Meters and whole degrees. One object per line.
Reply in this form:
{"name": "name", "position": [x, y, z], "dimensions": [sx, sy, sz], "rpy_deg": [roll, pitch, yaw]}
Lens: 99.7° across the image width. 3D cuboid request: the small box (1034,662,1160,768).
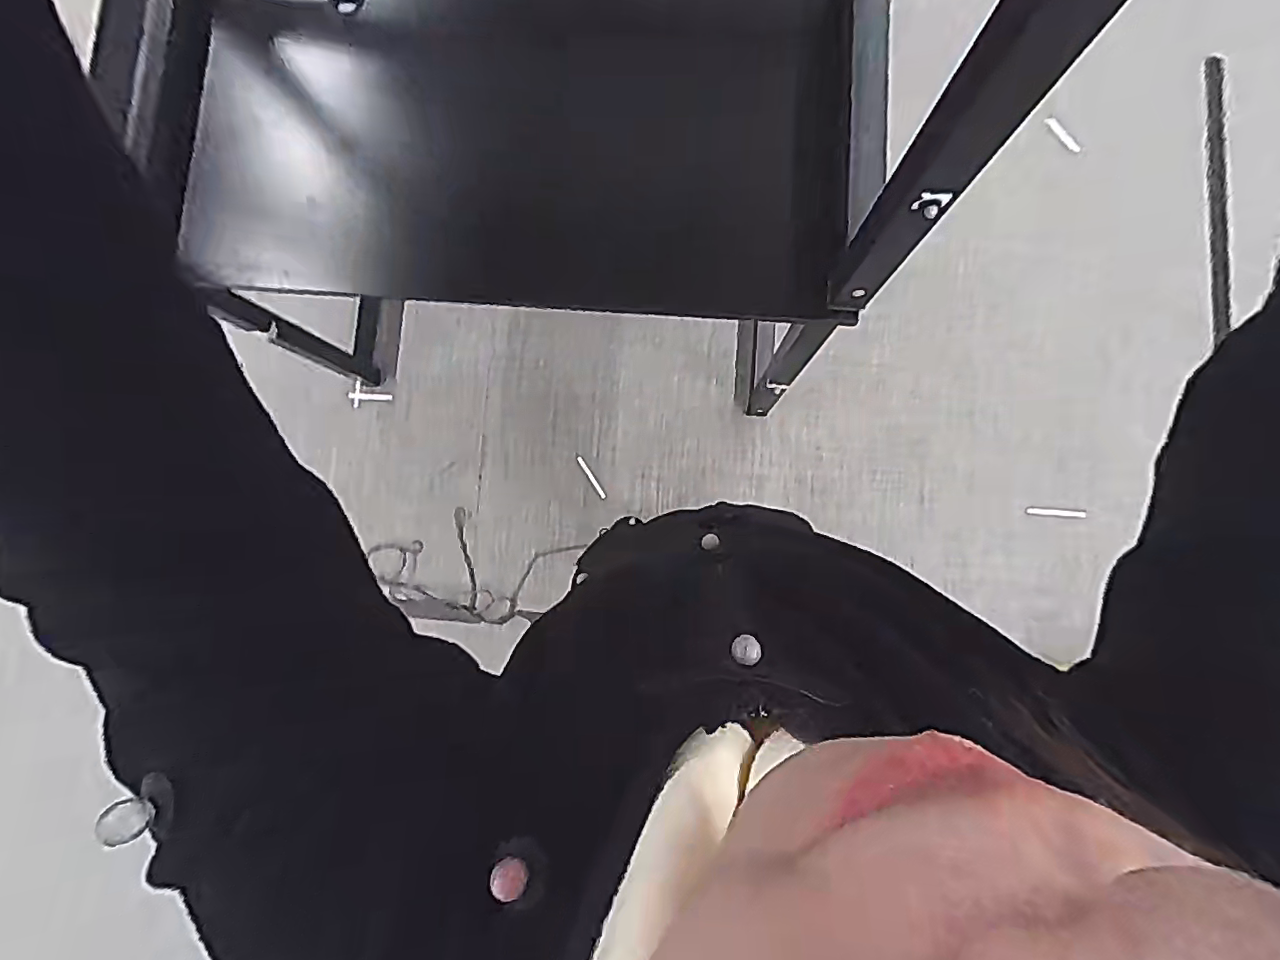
{"name": "small box", "position": [1.117, 0.571, 1.335], "dimensions": [0.168, 0.176, 0.179], "rpy_deg": [9, 87, 4]}
